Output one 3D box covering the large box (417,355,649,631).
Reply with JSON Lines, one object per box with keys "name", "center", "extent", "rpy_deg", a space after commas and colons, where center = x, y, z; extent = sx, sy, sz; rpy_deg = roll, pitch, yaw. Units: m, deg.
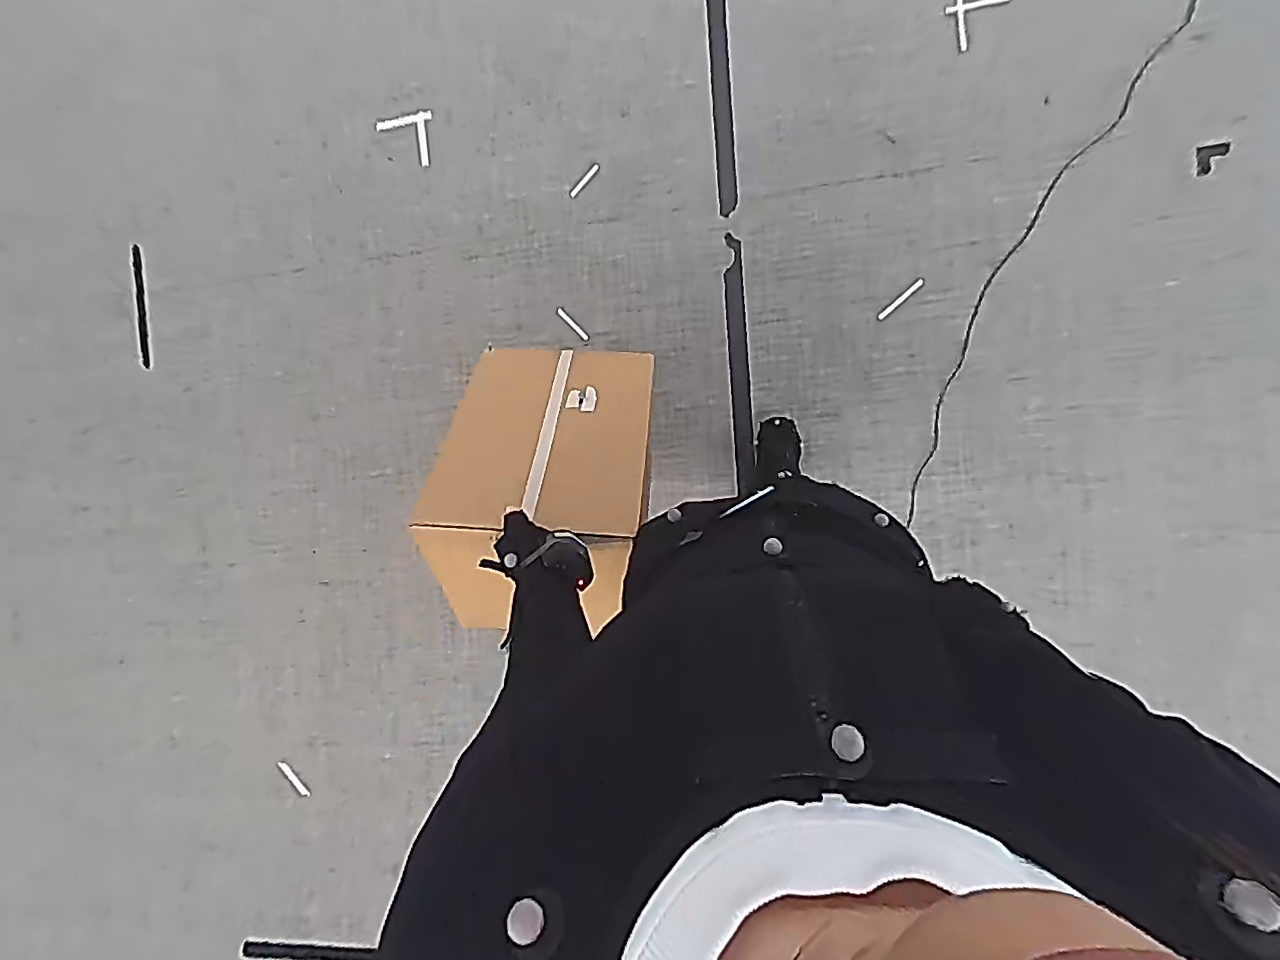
{"name": "large box", "center": [-0.146, 0.022, 0.981], "extent": [0.320, 0.320, 0.408], "rpy_deg": [3, 48, 3]}
